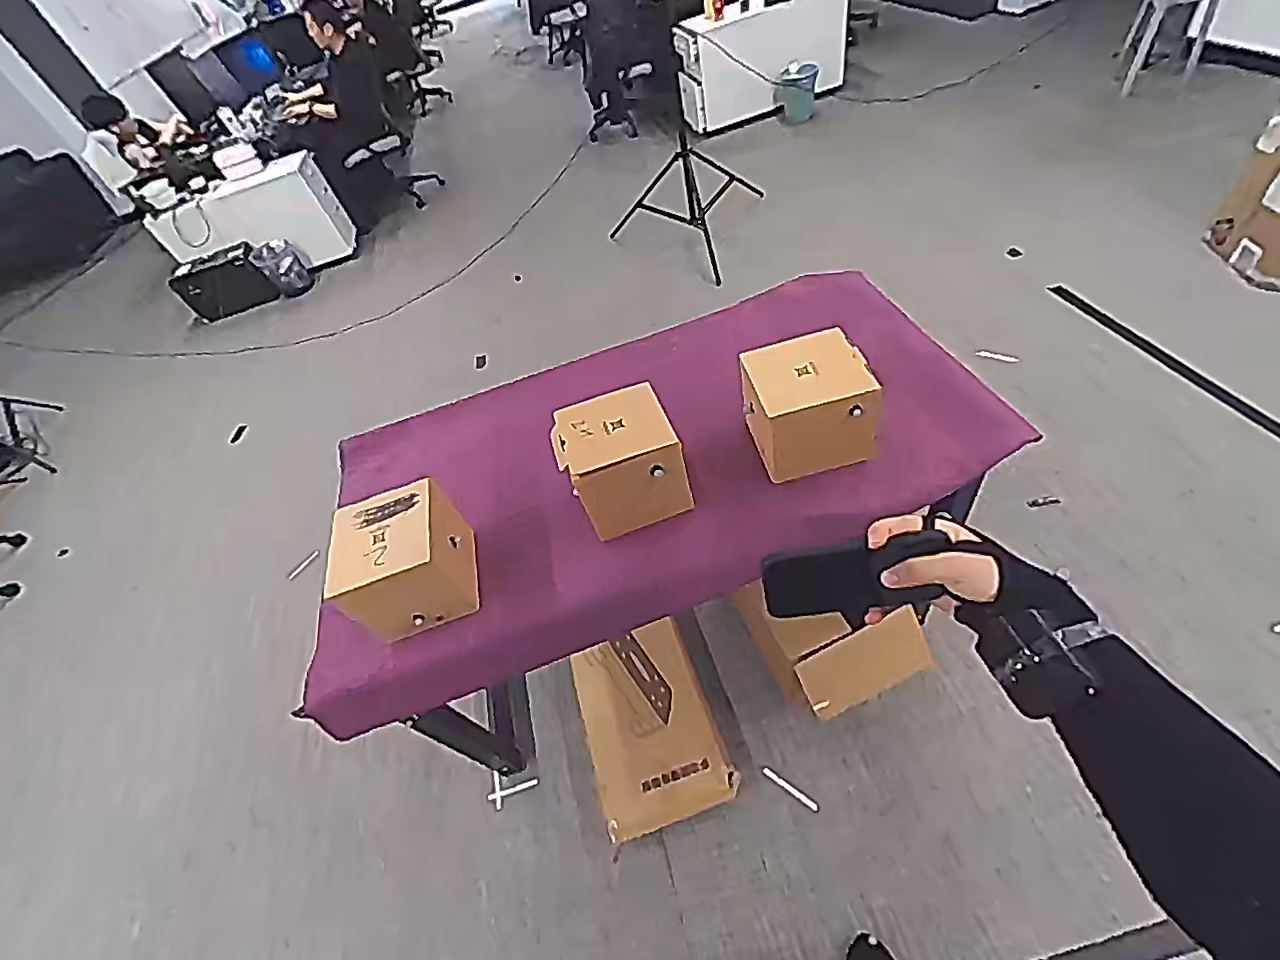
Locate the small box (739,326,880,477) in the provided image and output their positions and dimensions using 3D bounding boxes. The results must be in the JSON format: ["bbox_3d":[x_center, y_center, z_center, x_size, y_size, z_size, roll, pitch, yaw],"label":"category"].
[{"bbox_3d":[0.280,-0.127,0.918,0.179,0.176,0.168,-15,49,3],"label":"small box"}]

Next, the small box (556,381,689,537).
[{"bbox_3d":[-0.024,-0.033,0.924,0.179,0.176,0.168,-21,47,-2],"label":"small box"}]
